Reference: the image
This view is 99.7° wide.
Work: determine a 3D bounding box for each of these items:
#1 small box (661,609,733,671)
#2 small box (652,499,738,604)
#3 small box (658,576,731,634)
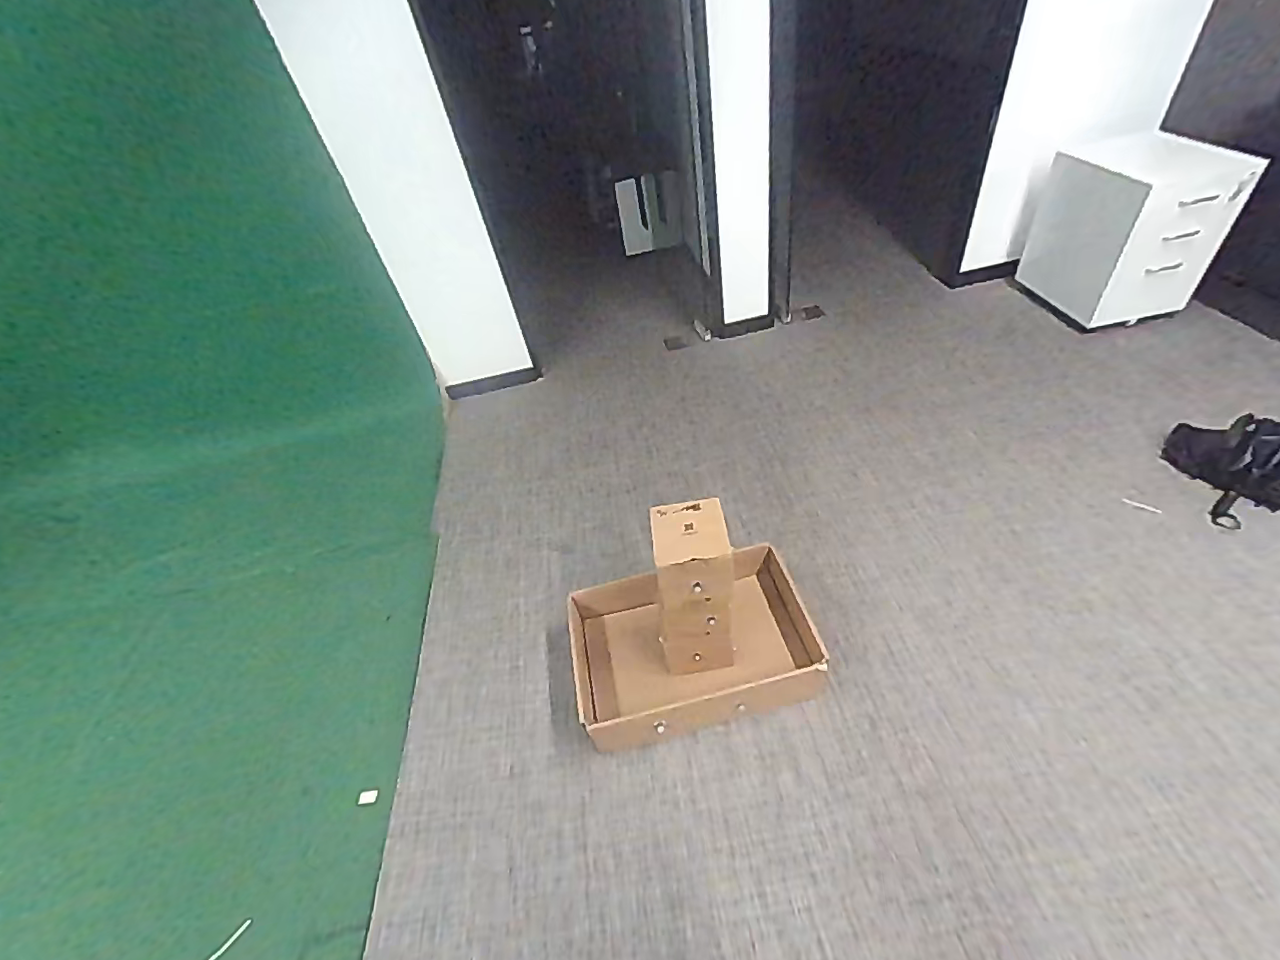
[{"bbox_3d":[0.158,0.405,1.494,0.179,0.176,0.168,-11,43,5],"label":"small box"},{"bbox_3d":[0.129,0.176,1.271,0.168,0.176,0.179,-12,43,6],"label":"small box"},{"bbox_3d":[0.137,0.276,1.374,0.168,0.176,0.179,-8,42,4],"label":"small box"}]
